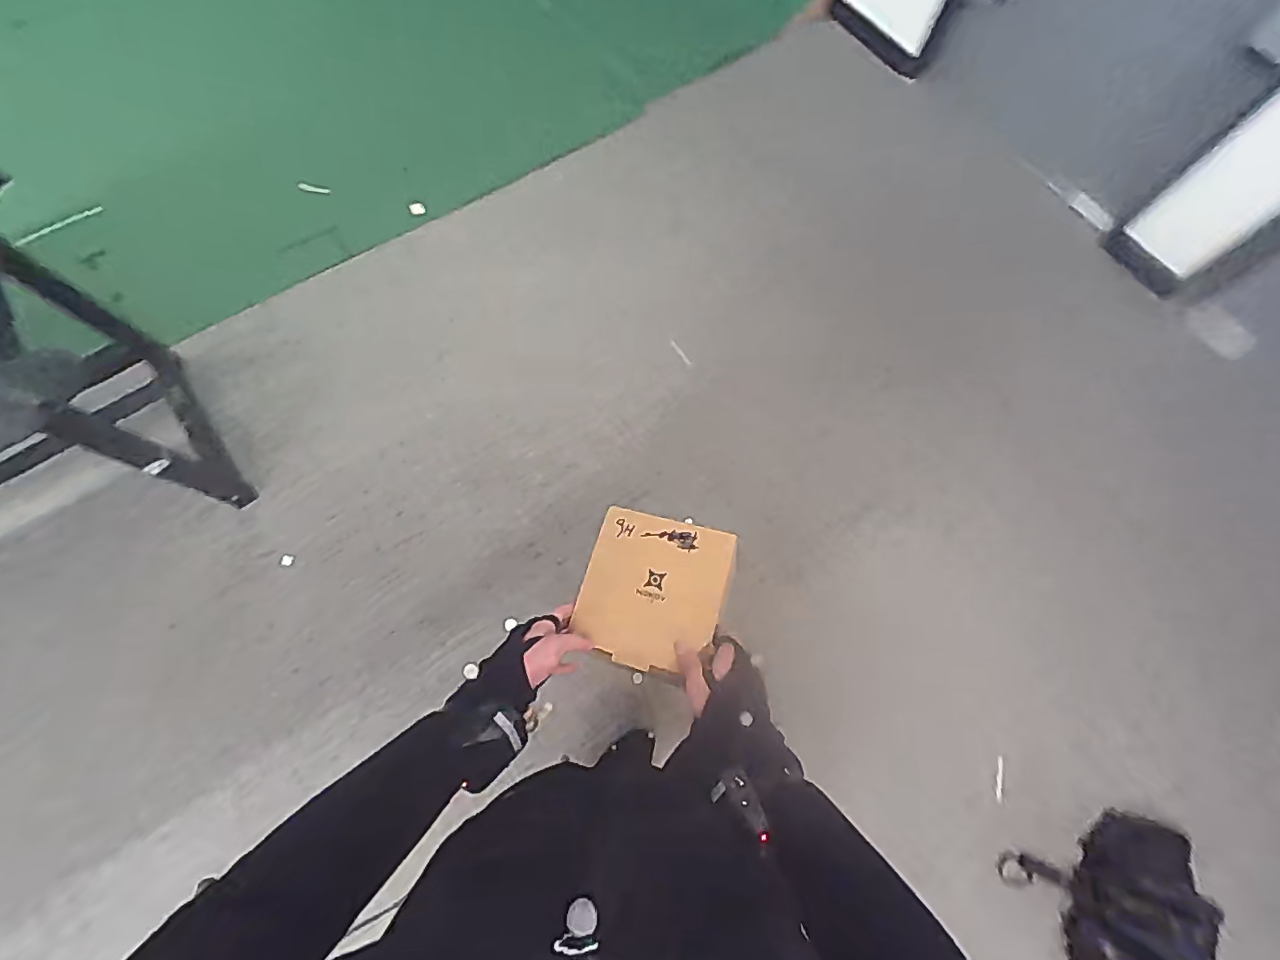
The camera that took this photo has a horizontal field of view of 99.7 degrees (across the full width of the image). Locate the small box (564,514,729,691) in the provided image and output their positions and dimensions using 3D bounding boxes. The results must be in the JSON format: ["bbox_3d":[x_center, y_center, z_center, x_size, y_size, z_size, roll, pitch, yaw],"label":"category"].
[{"bbox_3d":[0.019,0.169,0.714,0.168,0.176,0.179,12,67,12],"label":"small box"}]
